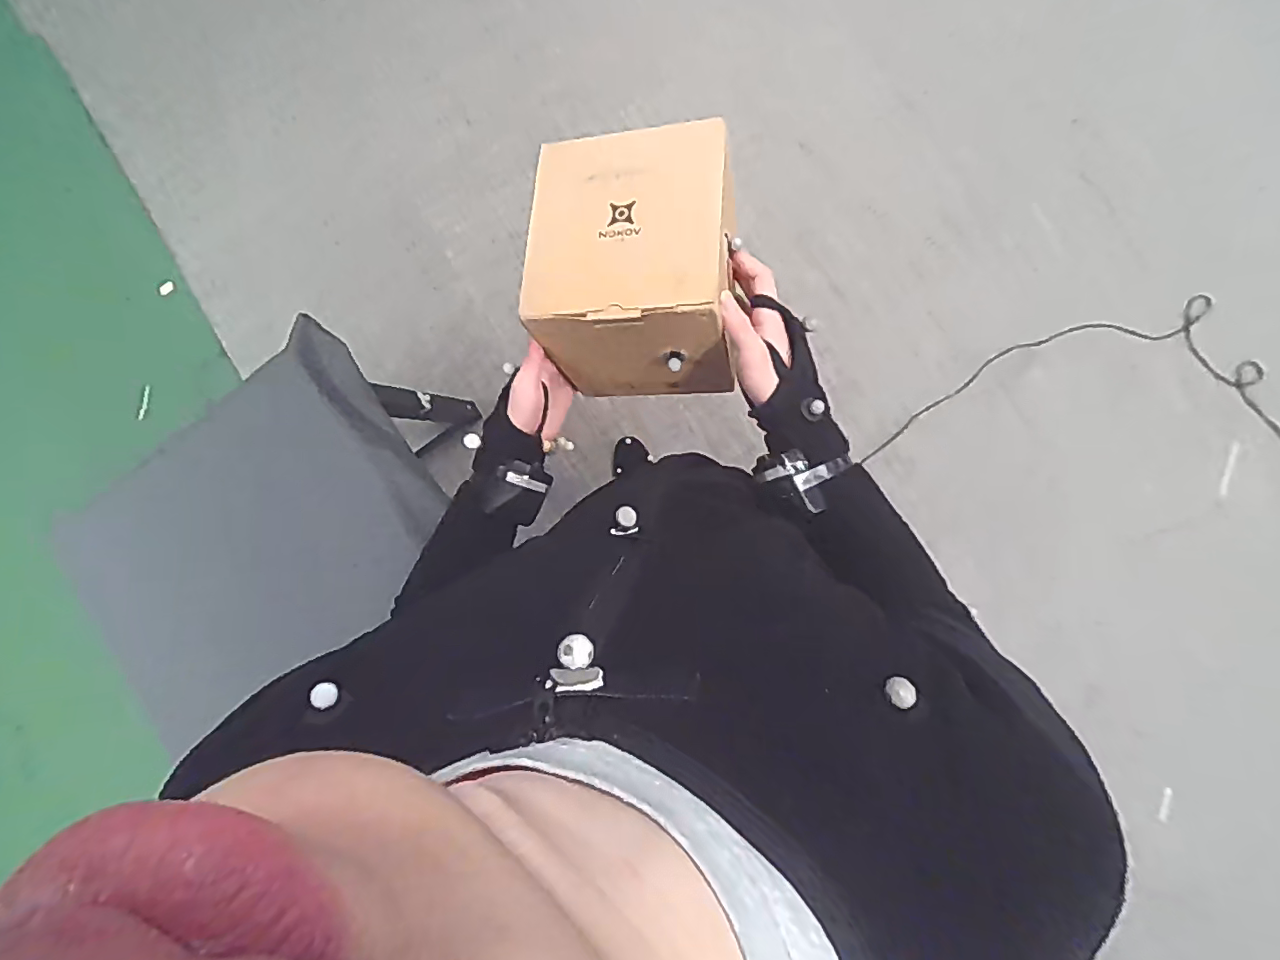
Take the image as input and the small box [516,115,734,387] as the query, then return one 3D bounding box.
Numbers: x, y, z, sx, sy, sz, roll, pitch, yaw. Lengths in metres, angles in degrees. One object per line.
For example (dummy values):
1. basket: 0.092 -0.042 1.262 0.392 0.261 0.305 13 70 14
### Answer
1. small box: 0.001 -0.197 0.516 0.168 0.176 0.179 1 76 13
